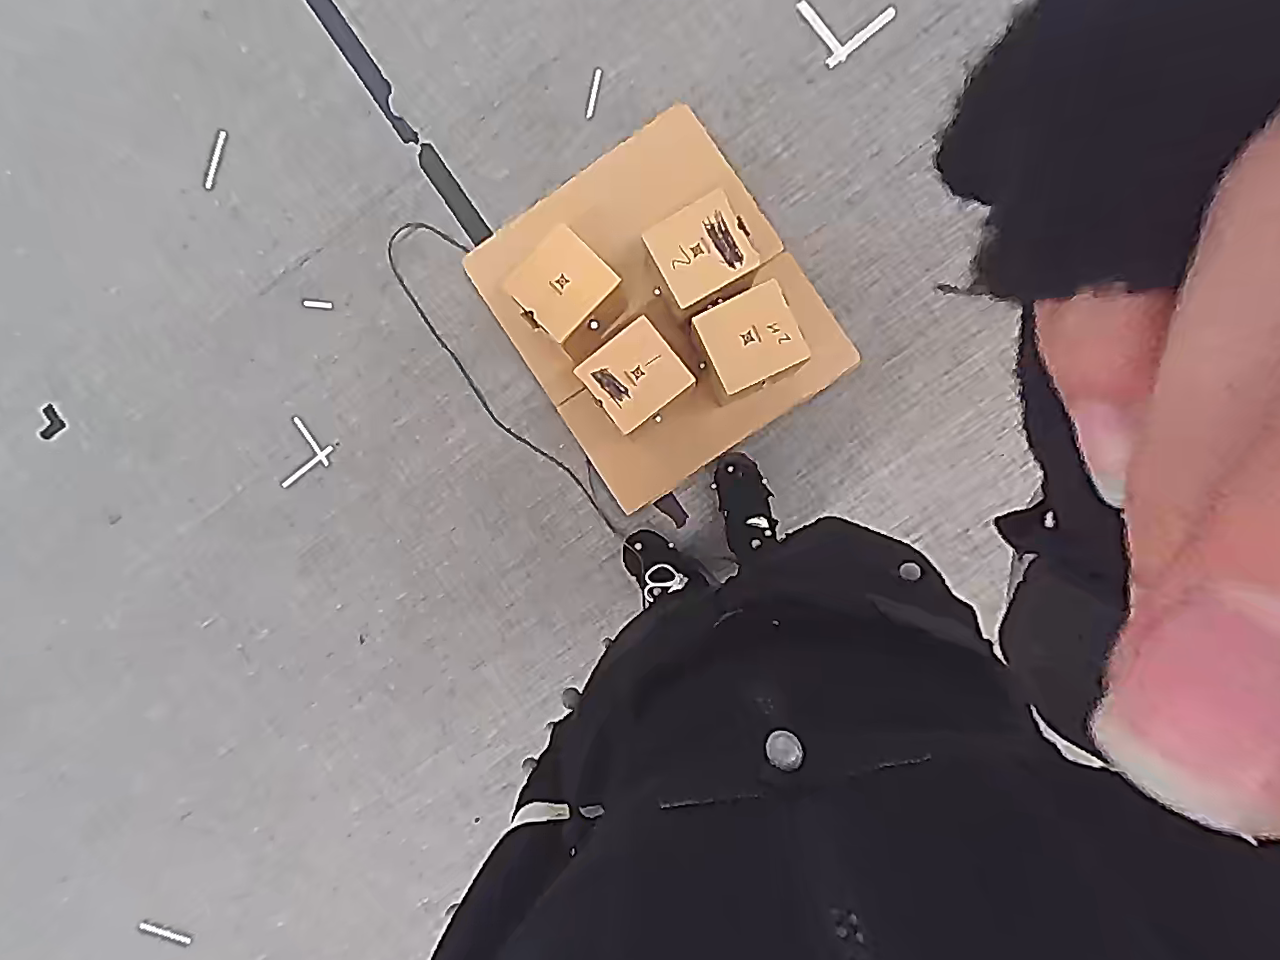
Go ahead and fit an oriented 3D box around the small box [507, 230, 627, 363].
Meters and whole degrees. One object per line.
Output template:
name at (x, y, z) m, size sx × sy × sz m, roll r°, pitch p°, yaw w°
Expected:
small box at (-0.140, -0.372, 1.128) m, size 0.168 × 0.176 × 0.179 m, roll 45°, pitch 94°, yaw 3°
